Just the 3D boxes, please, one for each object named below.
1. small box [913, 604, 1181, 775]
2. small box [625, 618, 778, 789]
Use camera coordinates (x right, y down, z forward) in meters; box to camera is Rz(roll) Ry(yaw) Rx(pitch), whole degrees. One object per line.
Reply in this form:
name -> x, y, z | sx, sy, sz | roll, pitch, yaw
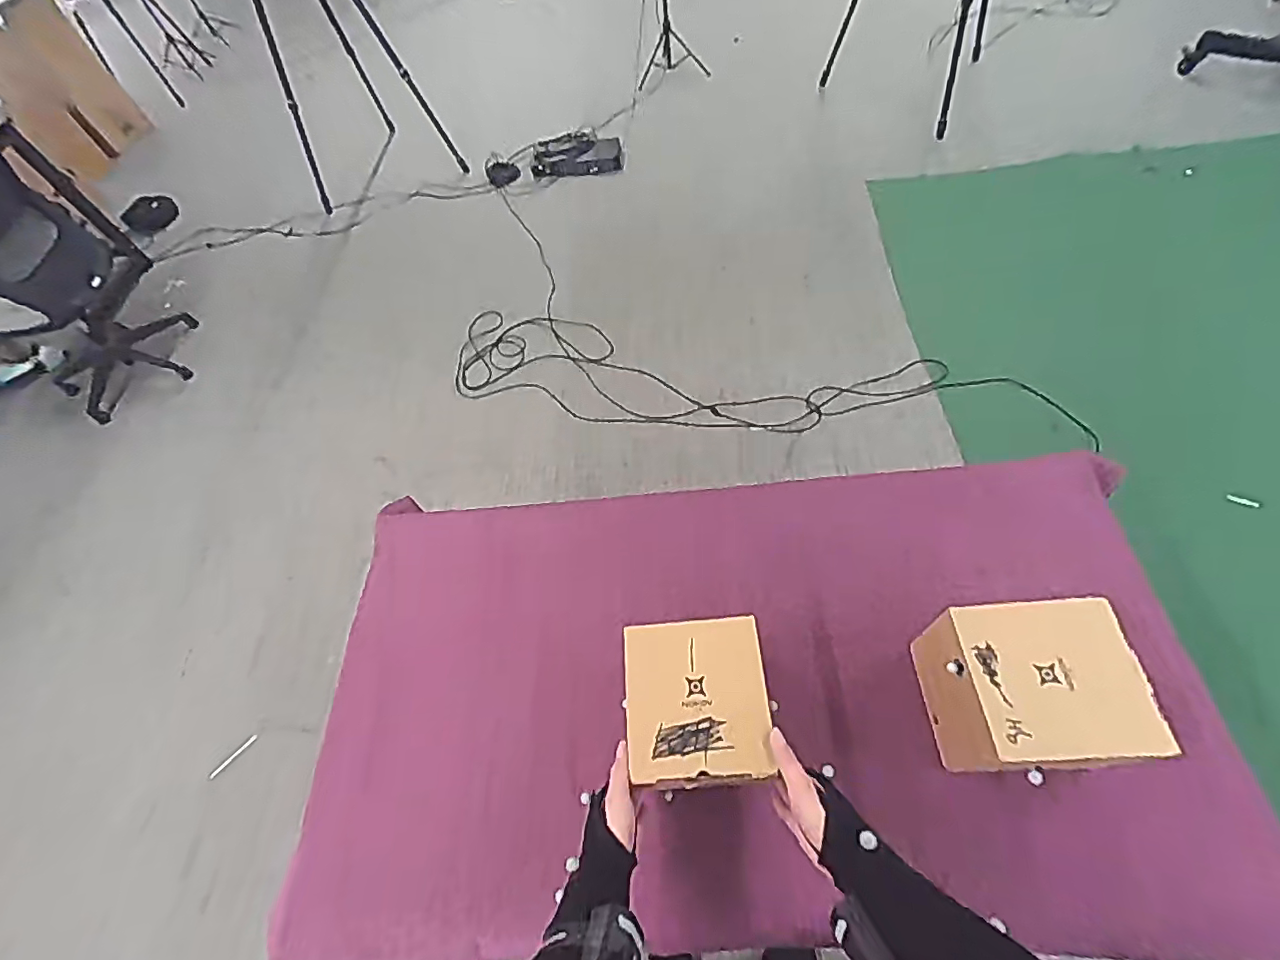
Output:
small box -> 0.462, 0.257, 0.653 | 0.179, 0.176, 0.168 | -4, 58, 6
small box -> 0.075, 0.291, 0.689 | 0.168, 0.176, 0.179 | -6, 57, 4
